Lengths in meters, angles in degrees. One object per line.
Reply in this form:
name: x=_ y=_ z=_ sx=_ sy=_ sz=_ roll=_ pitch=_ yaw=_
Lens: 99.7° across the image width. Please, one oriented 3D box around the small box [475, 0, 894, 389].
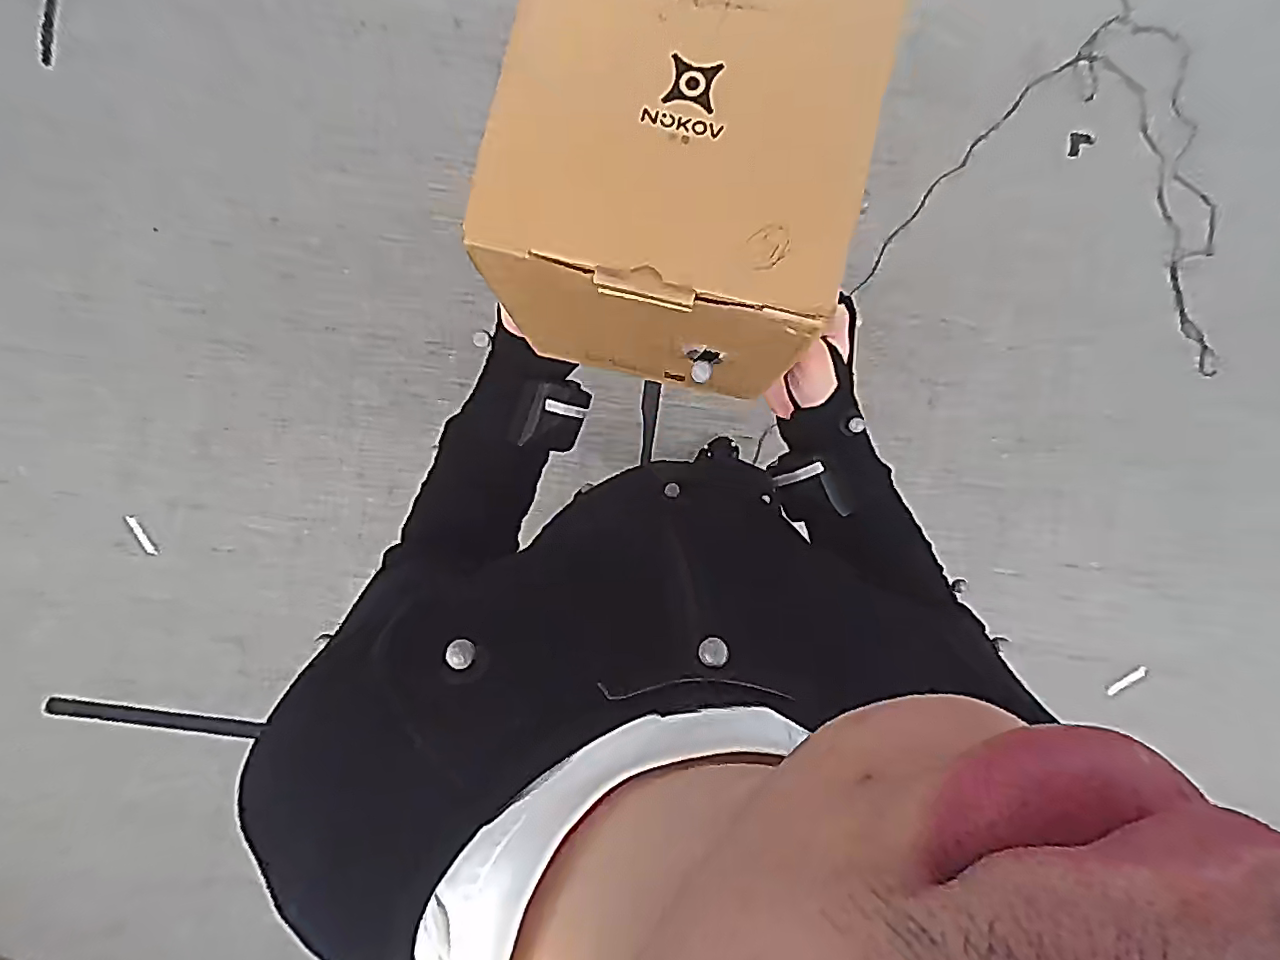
small box: x=0.023 y=-0.166 z=0.325 sx=0.168 sy=0.176 sz=0.179 roll=13 pitch=87 yaw=1
